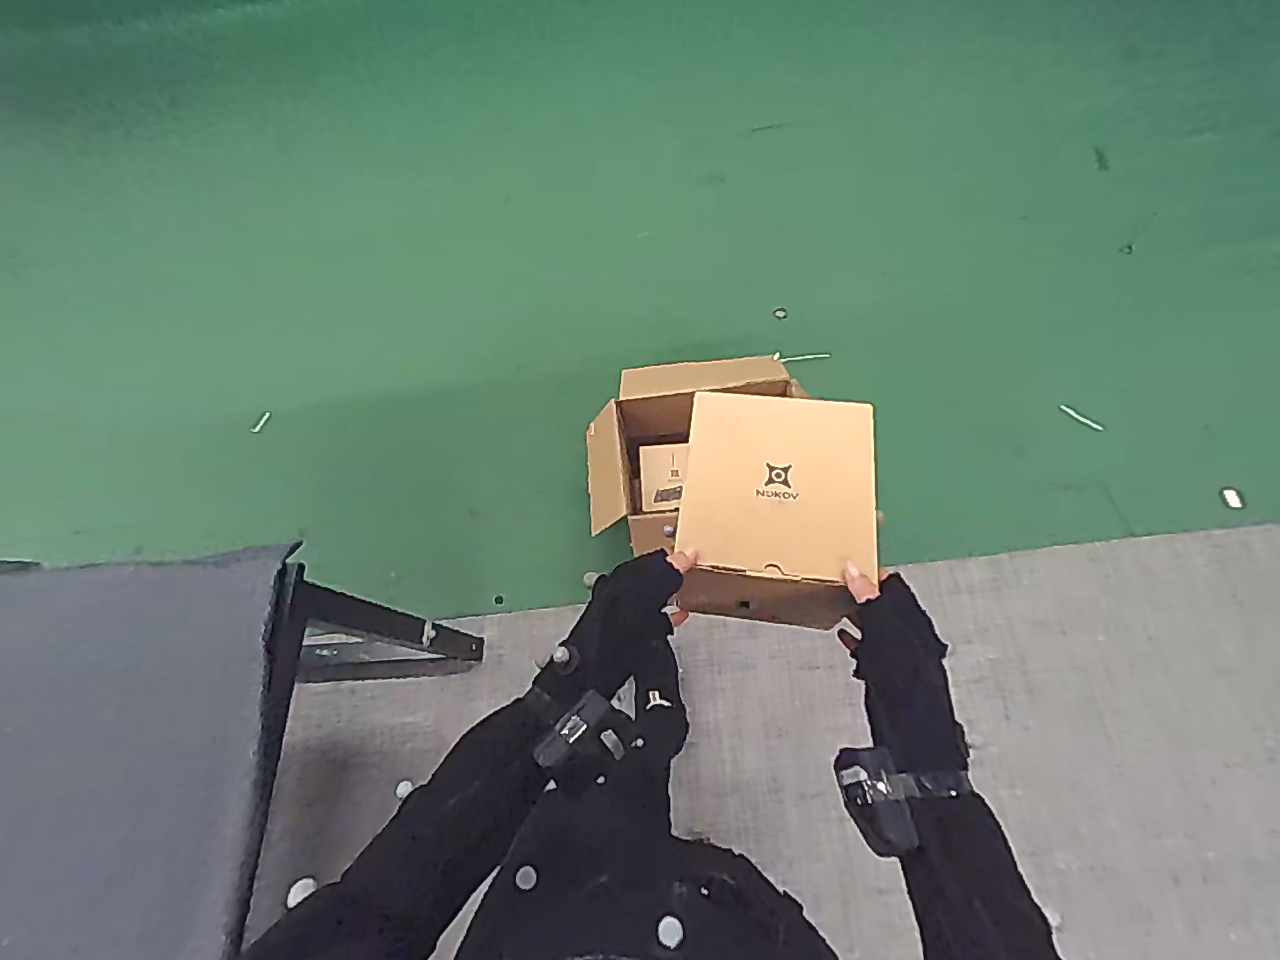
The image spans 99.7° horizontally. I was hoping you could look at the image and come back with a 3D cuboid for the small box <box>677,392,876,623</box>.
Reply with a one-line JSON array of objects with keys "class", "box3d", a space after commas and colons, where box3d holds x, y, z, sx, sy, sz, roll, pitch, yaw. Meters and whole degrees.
[{"class": "small box", "box3d": [0.130, 0.033, 0.554, 0.168, 0.176, 0.179, 5, 65, 9]}]
